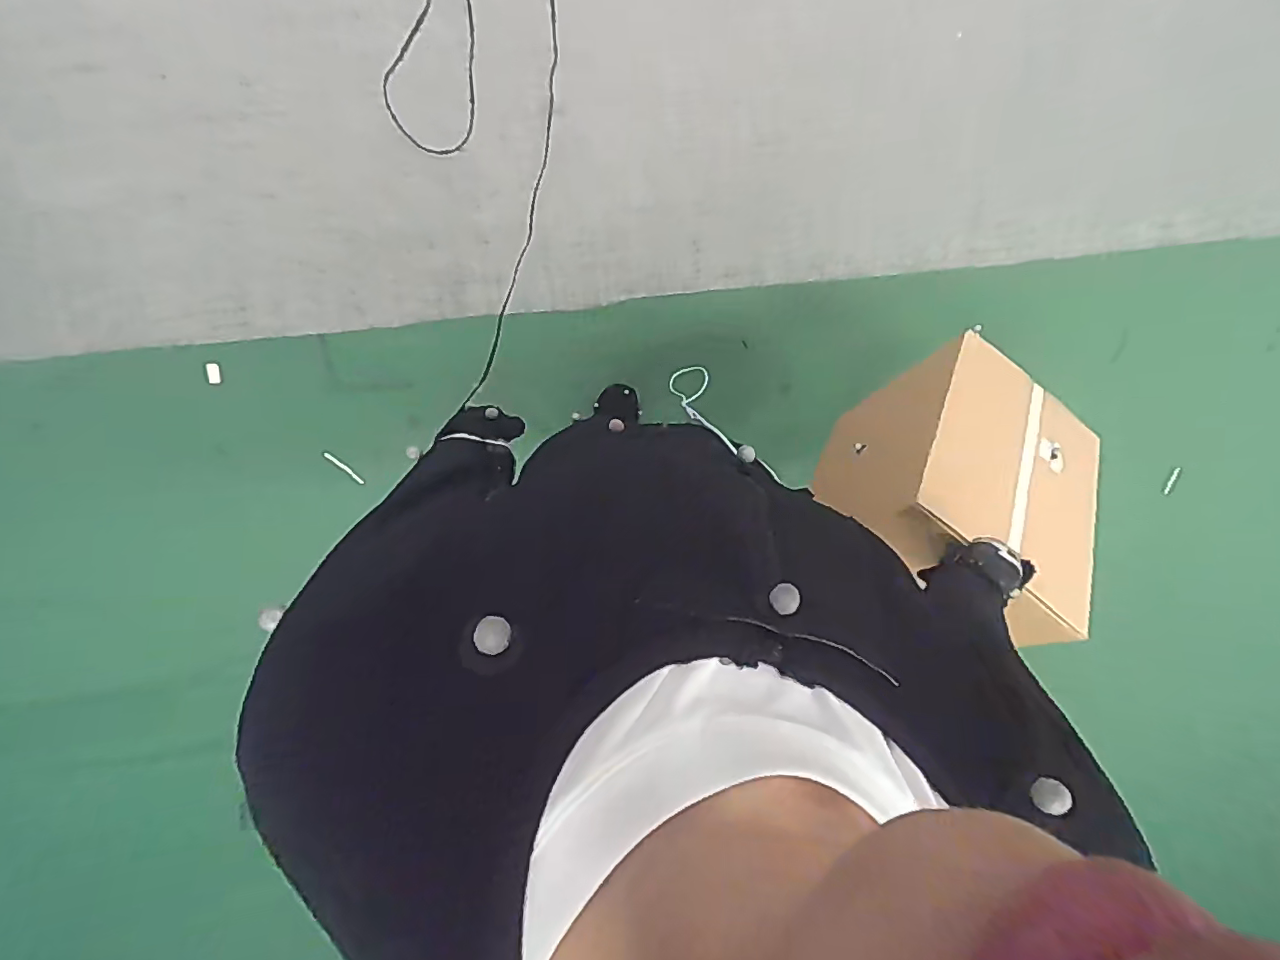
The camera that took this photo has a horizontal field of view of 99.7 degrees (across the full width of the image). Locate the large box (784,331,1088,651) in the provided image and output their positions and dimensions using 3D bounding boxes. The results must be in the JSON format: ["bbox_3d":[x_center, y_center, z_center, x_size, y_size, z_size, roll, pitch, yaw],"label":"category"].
[{"bbox_3d":[0.514,0.033,0.953,0.320,0.320,0.408,37,58,-6],"label":"large box"}]
